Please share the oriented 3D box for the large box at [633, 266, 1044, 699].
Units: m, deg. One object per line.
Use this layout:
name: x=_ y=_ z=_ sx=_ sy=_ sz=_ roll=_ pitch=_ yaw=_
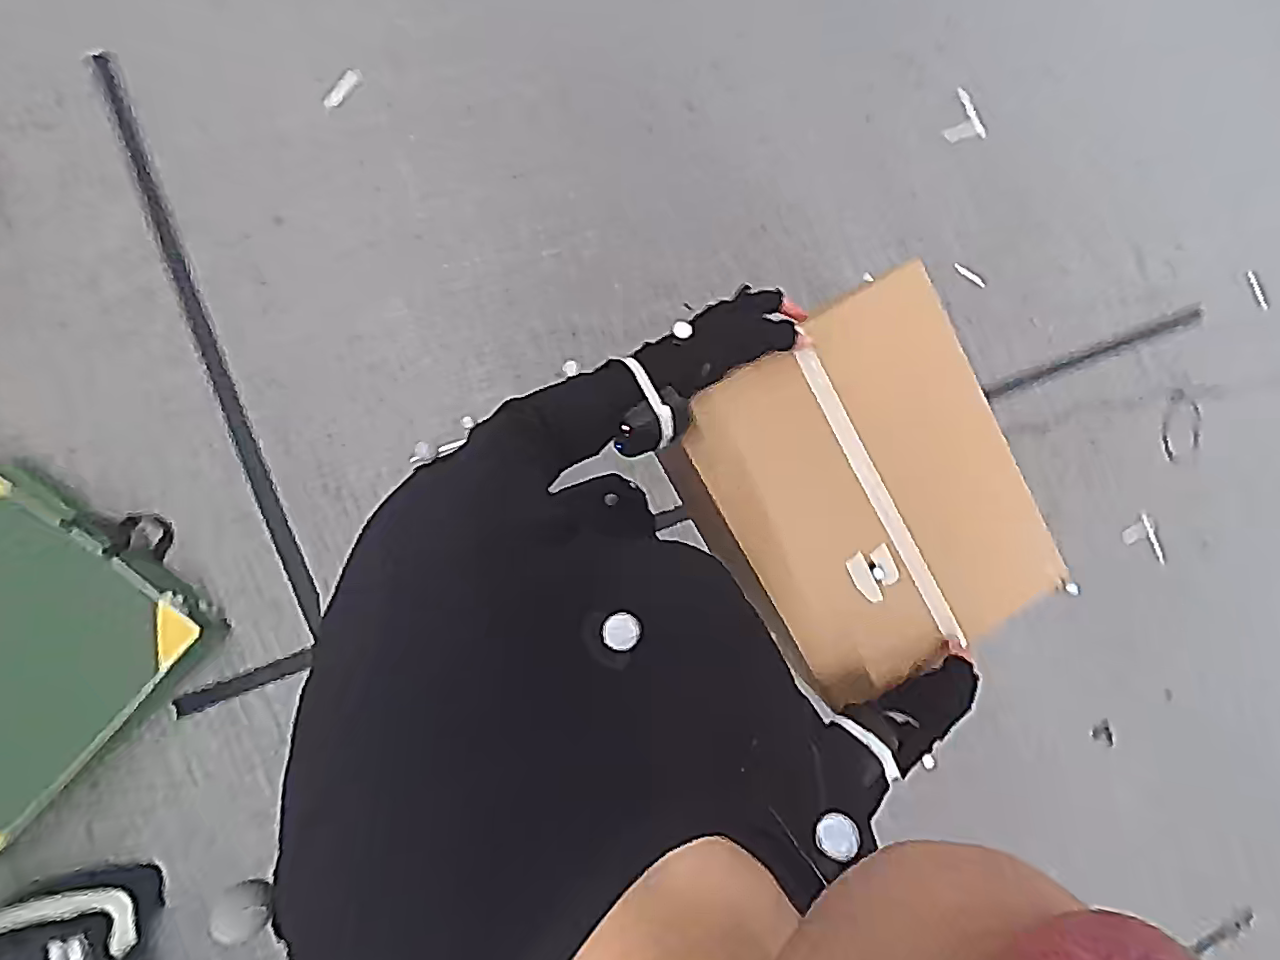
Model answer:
large box: x=0.232 y=-0.005 z=0.748 sx=0.320 sy=0.320 sz=0.408 roll=-31 pitch=99 yaw=-2
